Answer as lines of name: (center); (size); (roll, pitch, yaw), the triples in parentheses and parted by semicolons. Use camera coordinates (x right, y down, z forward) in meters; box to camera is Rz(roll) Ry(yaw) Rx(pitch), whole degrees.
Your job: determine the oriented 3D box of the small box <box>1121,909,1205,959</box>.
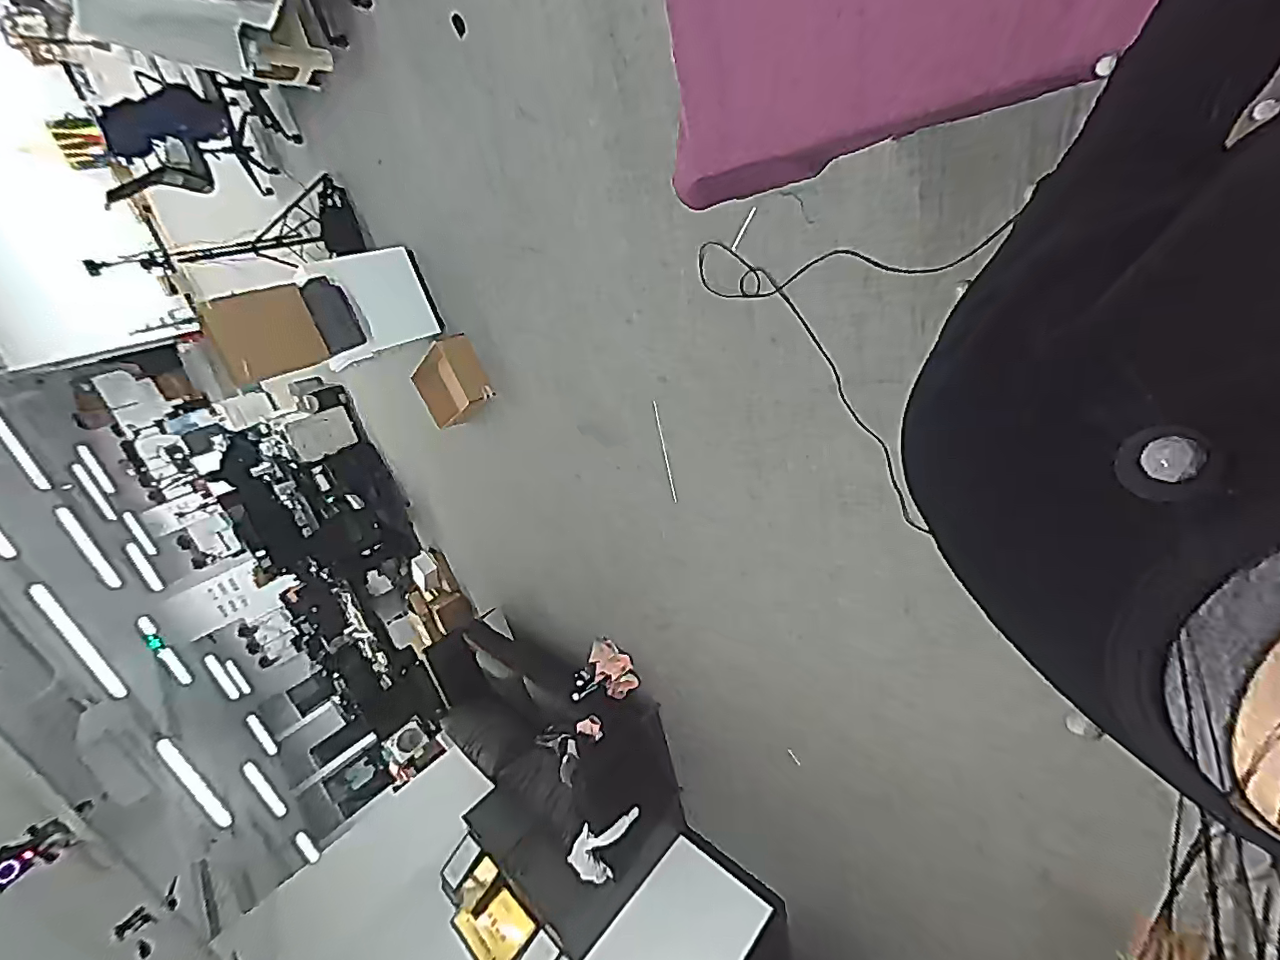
small box: (1.587, 1.476, 1.645); (0.168, 0.176, 0.179); (13, 123, 44)
